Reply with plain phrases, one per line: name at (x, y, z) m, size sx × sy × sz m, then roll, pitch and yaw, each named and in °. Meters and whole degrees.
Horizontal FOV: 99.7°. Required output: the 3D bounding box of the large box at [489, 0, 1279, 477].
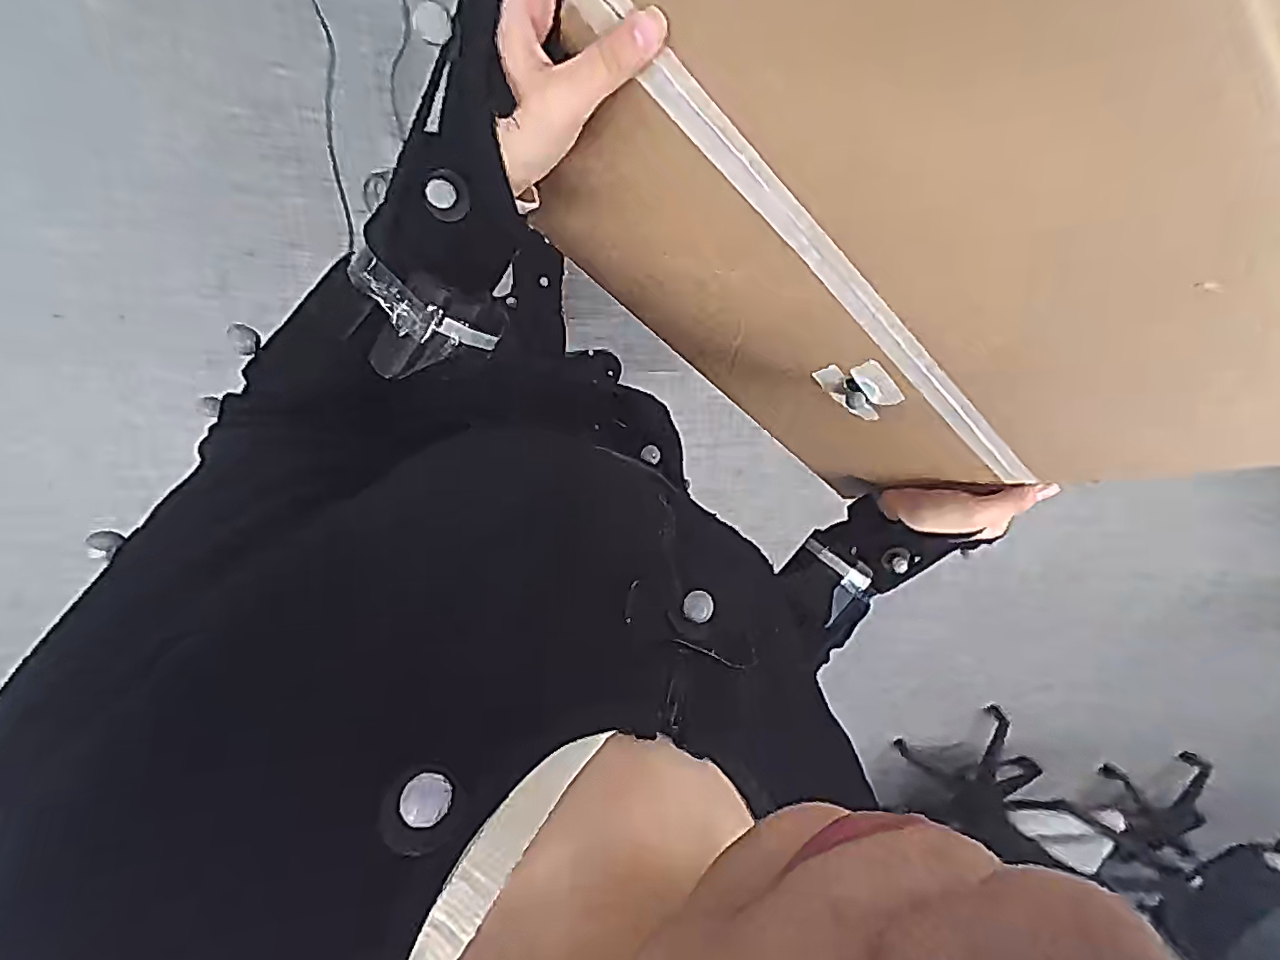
large box at (0.188, -0.247, 0.333) m, size 0.408 × 0.320 × 0.320 m, roll 33°, pitch 69°, yaw -23°
